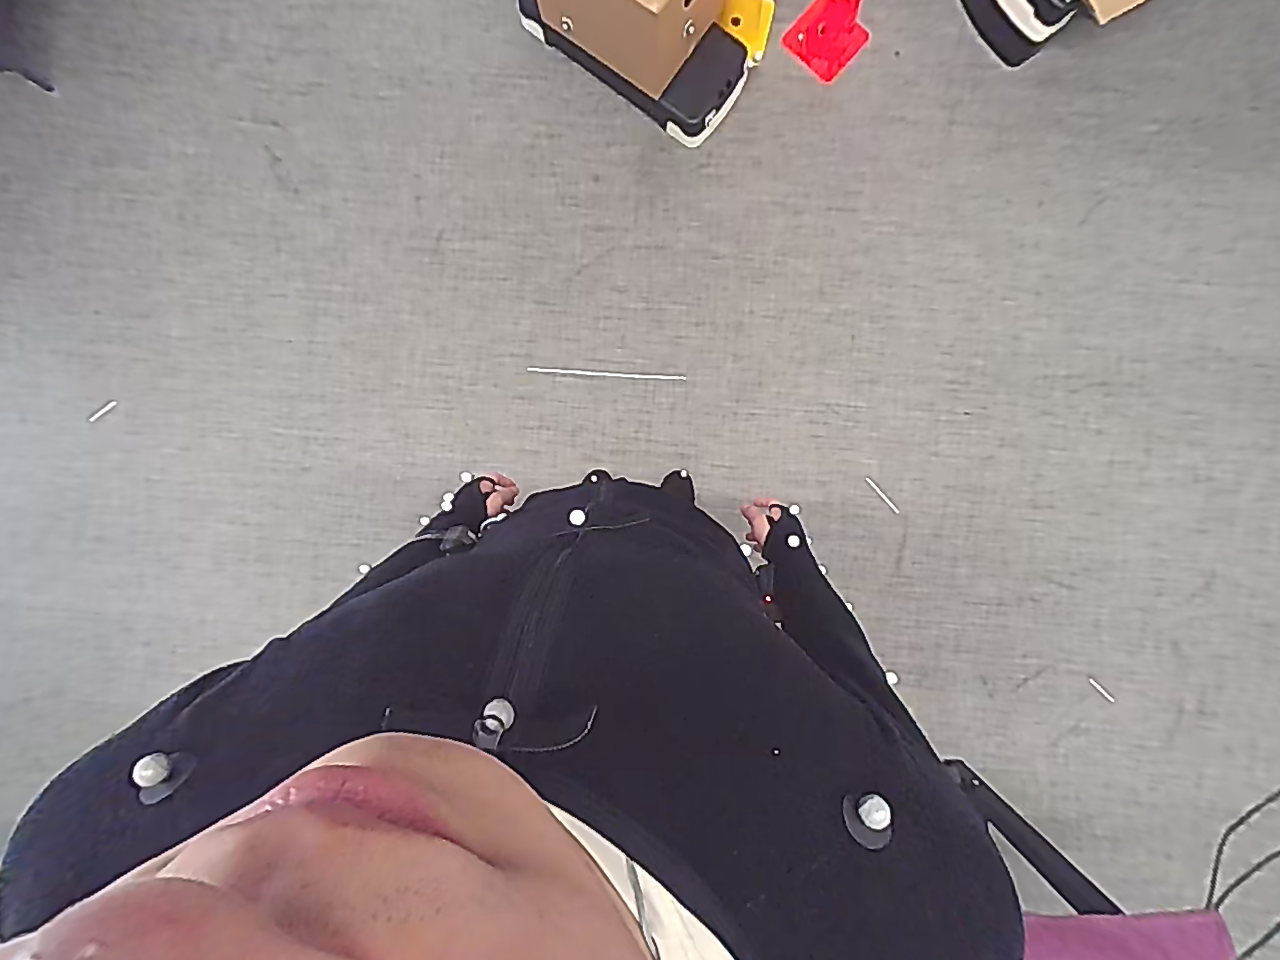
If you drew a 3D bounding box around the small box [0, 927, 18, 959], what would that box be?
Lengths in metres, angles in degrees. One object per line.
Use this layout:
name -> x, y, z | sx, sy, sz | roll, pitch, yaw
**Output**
small box -> -1.548, 1.117, 1.182 | 0.179, 0.176, 0.168 | 6, 90, 0
